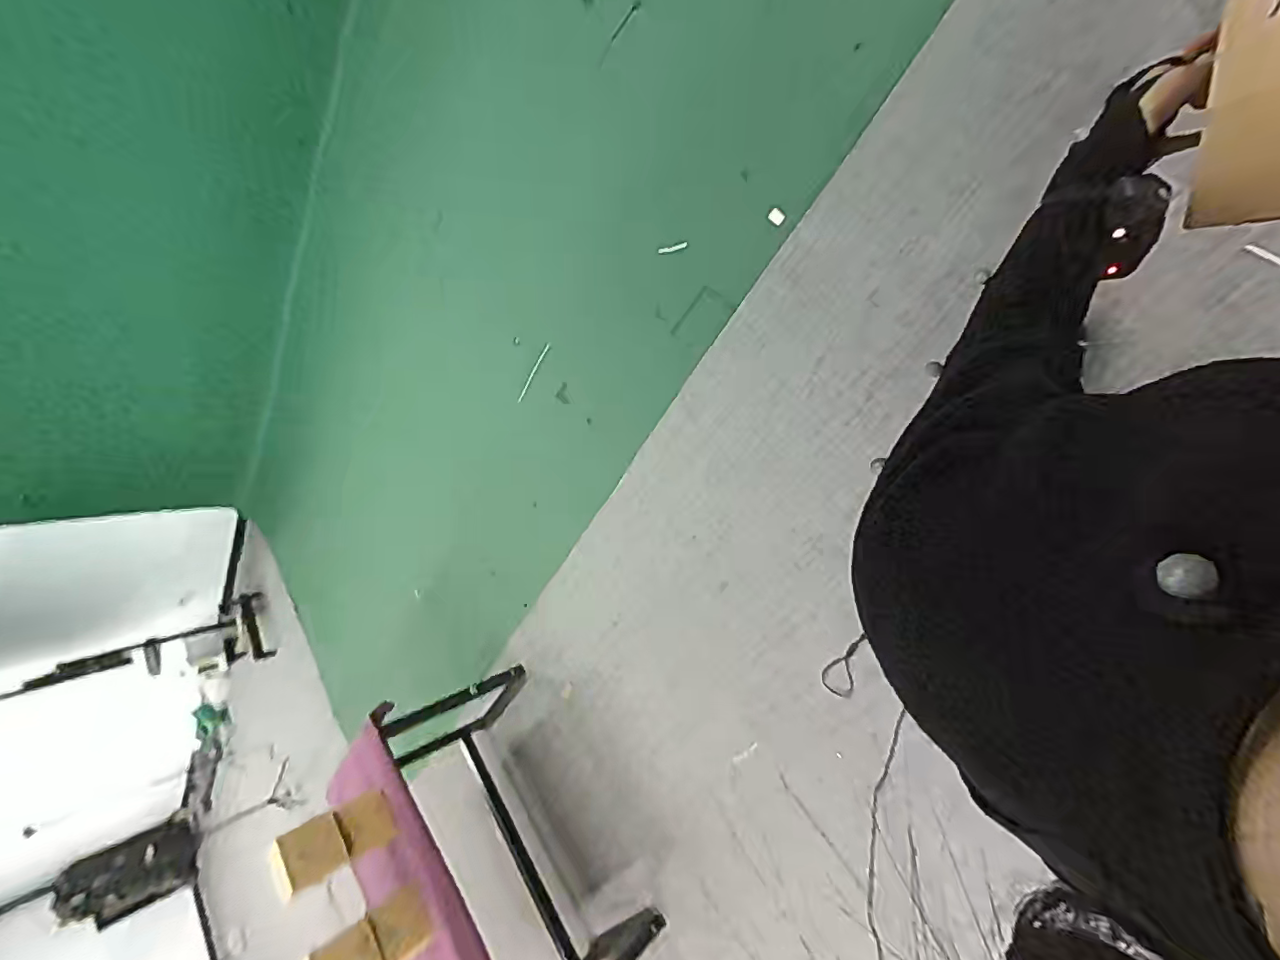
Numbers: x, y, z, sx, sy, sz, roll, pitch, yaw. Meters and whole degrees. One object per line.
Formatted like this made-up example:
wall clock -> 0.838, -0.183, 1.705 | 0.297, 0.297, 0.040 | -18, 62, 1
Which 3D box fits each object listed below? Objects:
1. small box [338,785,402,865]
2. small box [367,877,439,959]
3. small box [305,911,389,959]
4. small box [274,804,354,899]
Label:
small box -> -0.967, 1.202, 1.894 | 0.168, 0.176, 0.179 | -44, 70, 35
small box -> -0.789, 1.467, 1.776 | 0.179, 0.176, 0.168 | 46, 121, 27
small box -> -0.892, 1.473, 1.648 | 0.168, 0.176, 0.179 | 52, 124, 23
small box -> -1.055, 1.200, 1.753 | 0.179, 0.176, 0.168 | 54, 125, 20
